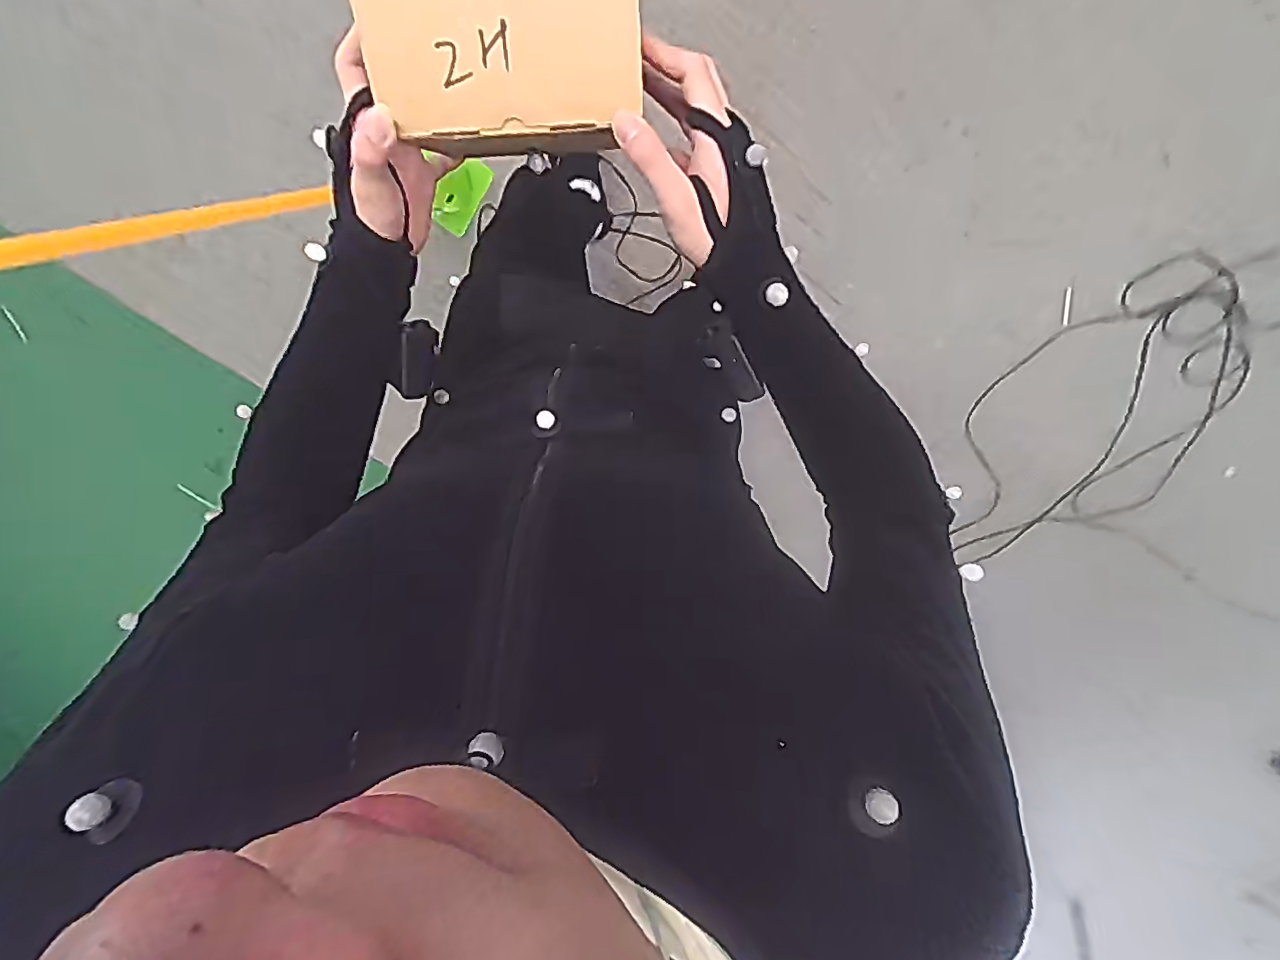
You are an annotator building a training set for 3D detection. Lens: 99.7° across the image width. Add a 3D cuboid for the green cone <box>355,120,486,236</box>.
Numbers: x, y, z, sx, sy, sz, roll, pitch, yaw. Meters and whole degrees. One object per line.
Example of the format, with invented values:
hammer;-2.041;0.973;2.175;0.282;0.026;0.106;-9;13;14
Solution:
green cone;-0.531;-0.665;1.218;0.202;0.368;0.200;36;120;-14
